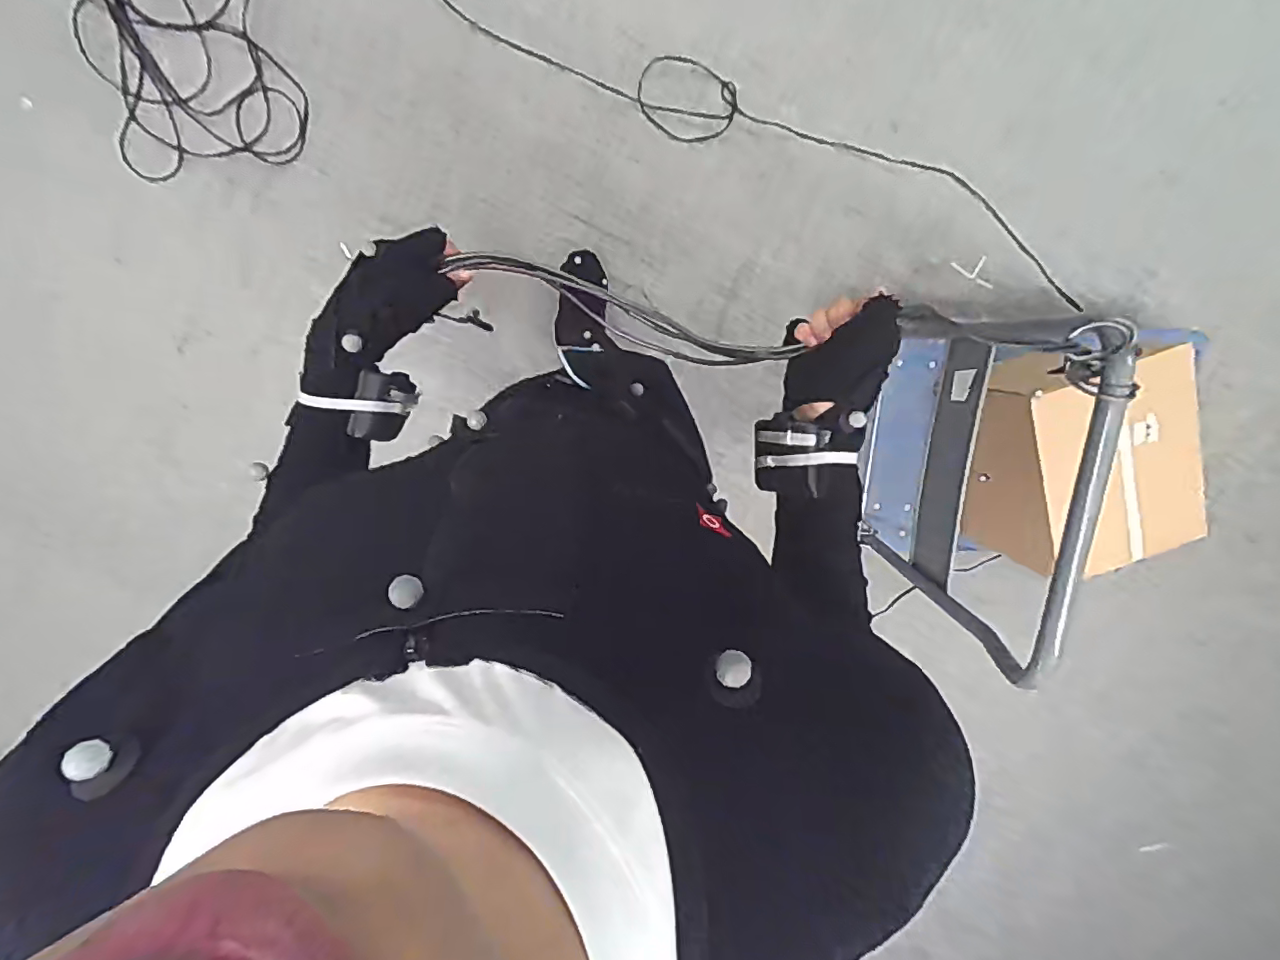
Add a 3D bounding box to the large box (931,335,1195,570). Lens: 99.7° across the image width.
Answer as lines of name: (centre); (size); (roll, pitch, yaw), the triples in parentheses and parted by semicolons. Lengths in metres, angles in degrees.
large box: (0.913, -0.076, 1.201); (0.320, 0.320, 0.408); (-19, 104, 1)
